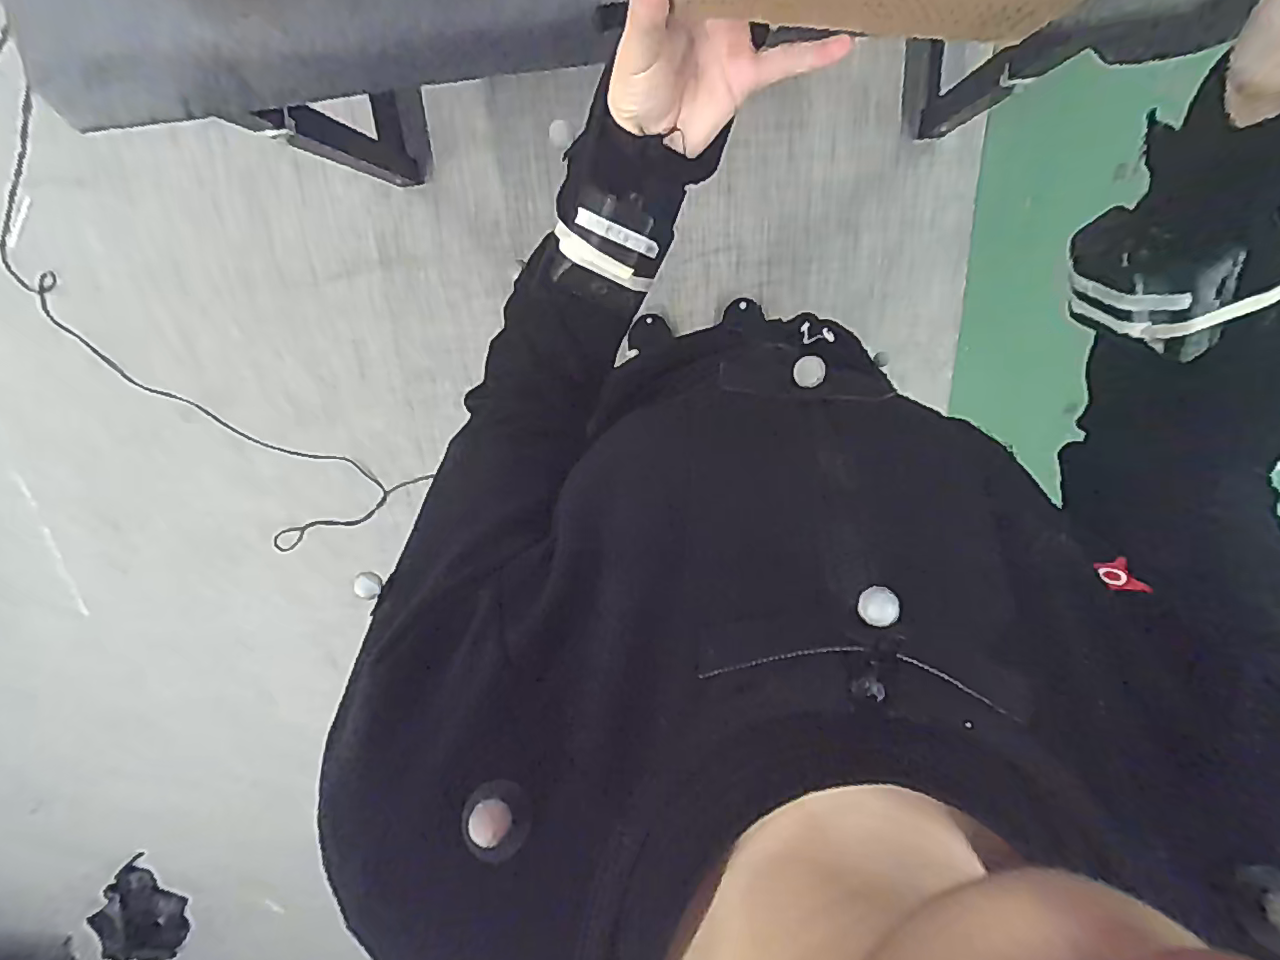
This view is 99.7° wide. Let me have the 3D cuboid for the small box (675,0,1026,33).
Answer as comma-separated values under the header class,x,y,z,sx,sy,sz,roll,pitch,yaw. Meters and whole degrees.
class,x,y,z,sx,sy,sz,roll,pitch,yaw
small box,0.097,-0.264,0.152,0.179,0.176,0.168,2,109,-3
